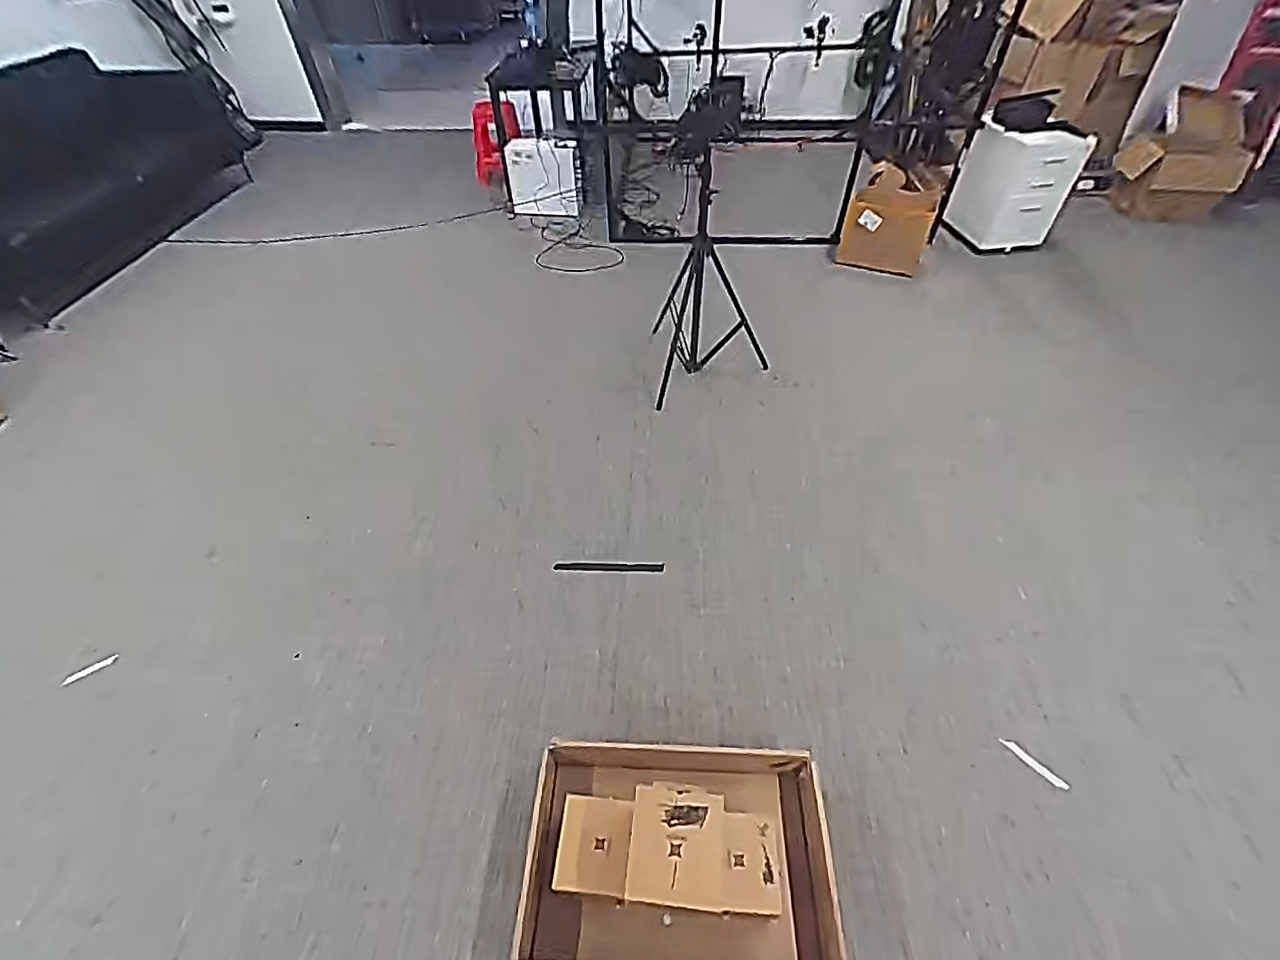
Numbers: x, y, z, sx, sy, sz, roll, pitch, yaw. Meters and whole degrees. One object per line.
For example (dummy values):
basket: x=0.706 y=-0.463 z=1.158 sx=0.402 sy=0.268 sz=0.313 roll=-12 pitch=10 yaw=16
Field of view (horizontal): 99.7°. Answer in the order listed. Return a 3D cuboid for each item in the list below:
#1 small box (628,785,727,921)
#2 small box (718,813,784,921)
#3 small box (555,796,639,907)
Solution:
small box: x=0.071 y=0.698 z=1.011 sx=0.168 sy=0.176 sz=0.179 roll=4 pitch=48 yaw=6
small box: x=0.195 y=0.809 z=1.130 sx=0.179 sy=0.176 sz=0.168 roll=0 pitch=48 yaw=5
small box: x=-0.071 y=0.792 z=1.150 sx=0.179 sy=0.176 sz=0.168 roll=3 pitch=47 yaw=4
